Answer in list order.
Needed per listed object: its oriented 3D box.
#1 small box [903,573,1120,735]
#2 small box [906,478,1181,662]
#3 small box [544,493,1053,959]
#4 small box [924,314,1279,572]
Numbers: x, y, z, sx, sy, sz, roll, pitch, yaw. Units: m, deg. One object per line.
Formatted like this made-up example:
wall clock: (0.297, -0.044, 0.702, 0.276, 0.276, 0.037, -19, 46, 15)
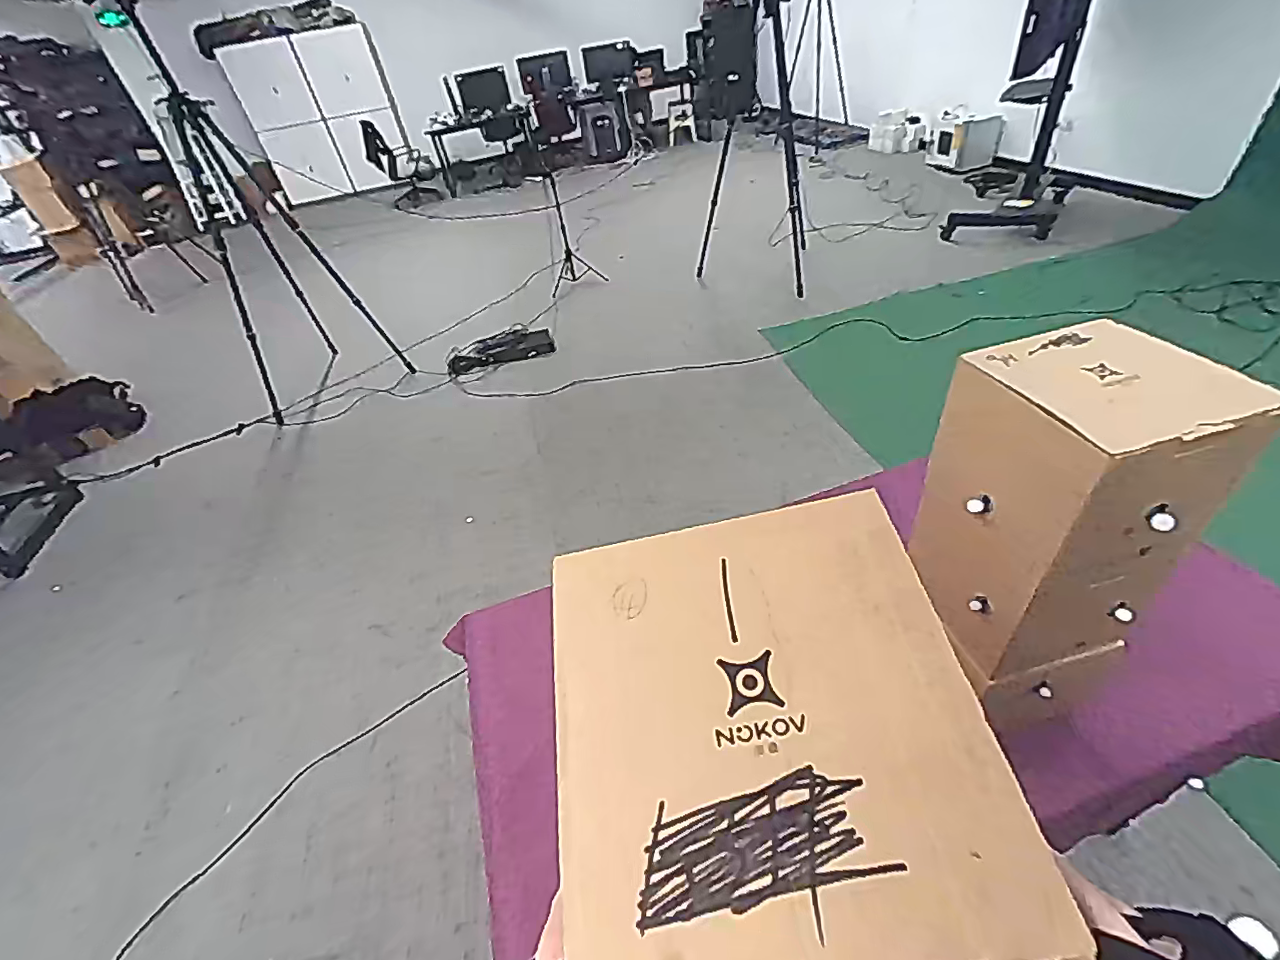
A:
small box: (0.472, 0.216, 0.731, 0.179, 0.176, 0.168, -15, 41, -3)
small box: (0.442, 0.090, 0.632, 0.168, 0.176, 0.179, -15, 40, -3)
small box: (0.057, 0.137, 0.284, 0.168, 0.176, 0.179, -13, 53, 6)
small box: (0.413, -0.031, 0.525, 0.168, 0.176, 0.179, -15, 41, -4)
